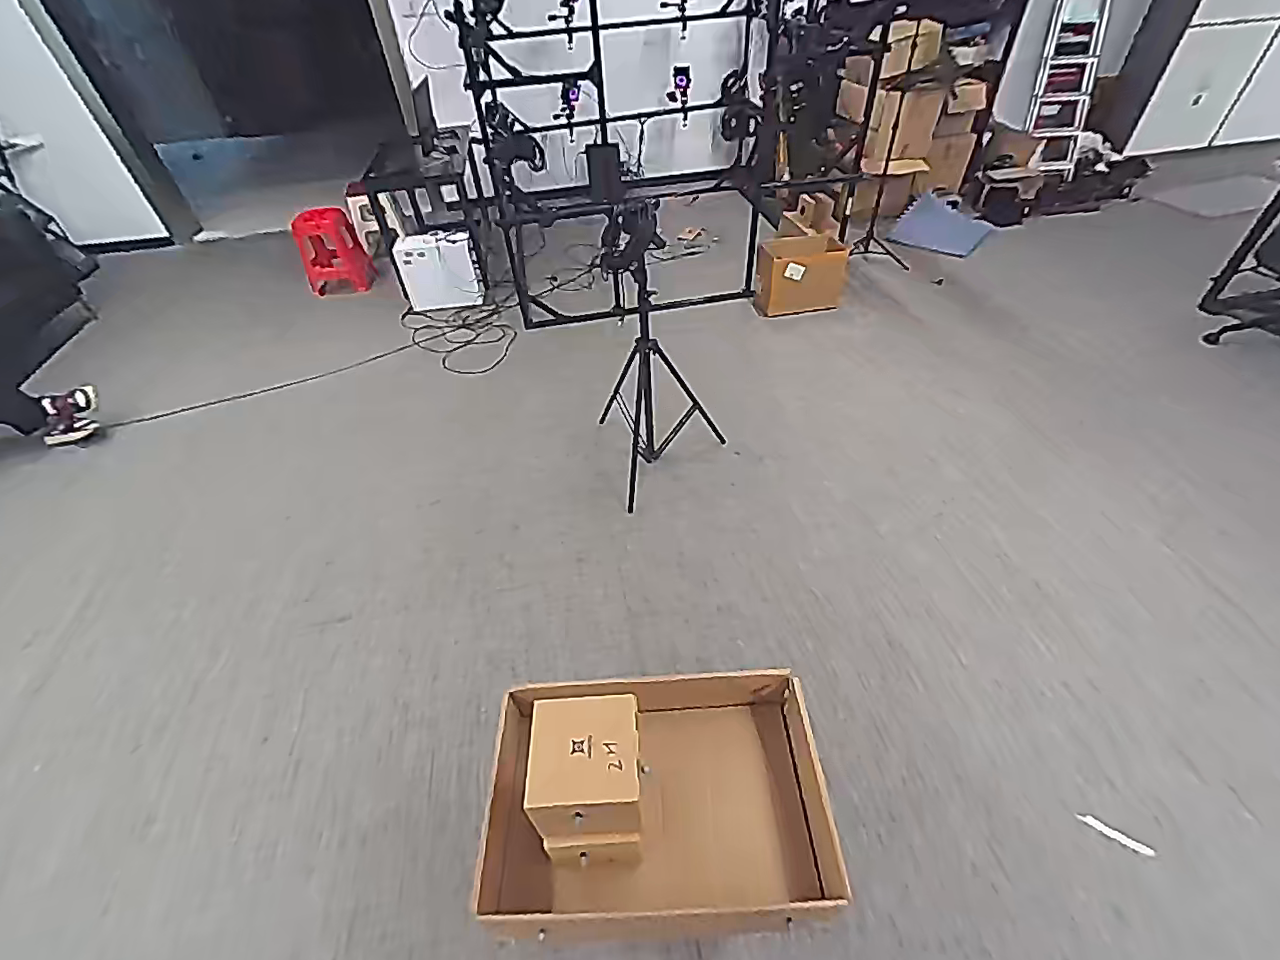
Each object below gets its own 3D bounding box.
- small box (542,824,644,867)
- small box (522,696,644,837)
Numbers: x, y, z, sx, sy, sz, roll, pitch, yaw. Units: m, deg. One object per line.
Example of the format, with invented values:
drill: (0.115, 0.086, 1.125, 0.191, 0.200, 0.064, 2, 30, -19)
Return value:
small box: (-0.082, 0.606, 1.015, 0.168, 0.176, 0.179, -4, 43, -1)
small box: (-0.087, 0.482, 0.907, 0.179, 0.176, 0.168, -3, 44, 0)
